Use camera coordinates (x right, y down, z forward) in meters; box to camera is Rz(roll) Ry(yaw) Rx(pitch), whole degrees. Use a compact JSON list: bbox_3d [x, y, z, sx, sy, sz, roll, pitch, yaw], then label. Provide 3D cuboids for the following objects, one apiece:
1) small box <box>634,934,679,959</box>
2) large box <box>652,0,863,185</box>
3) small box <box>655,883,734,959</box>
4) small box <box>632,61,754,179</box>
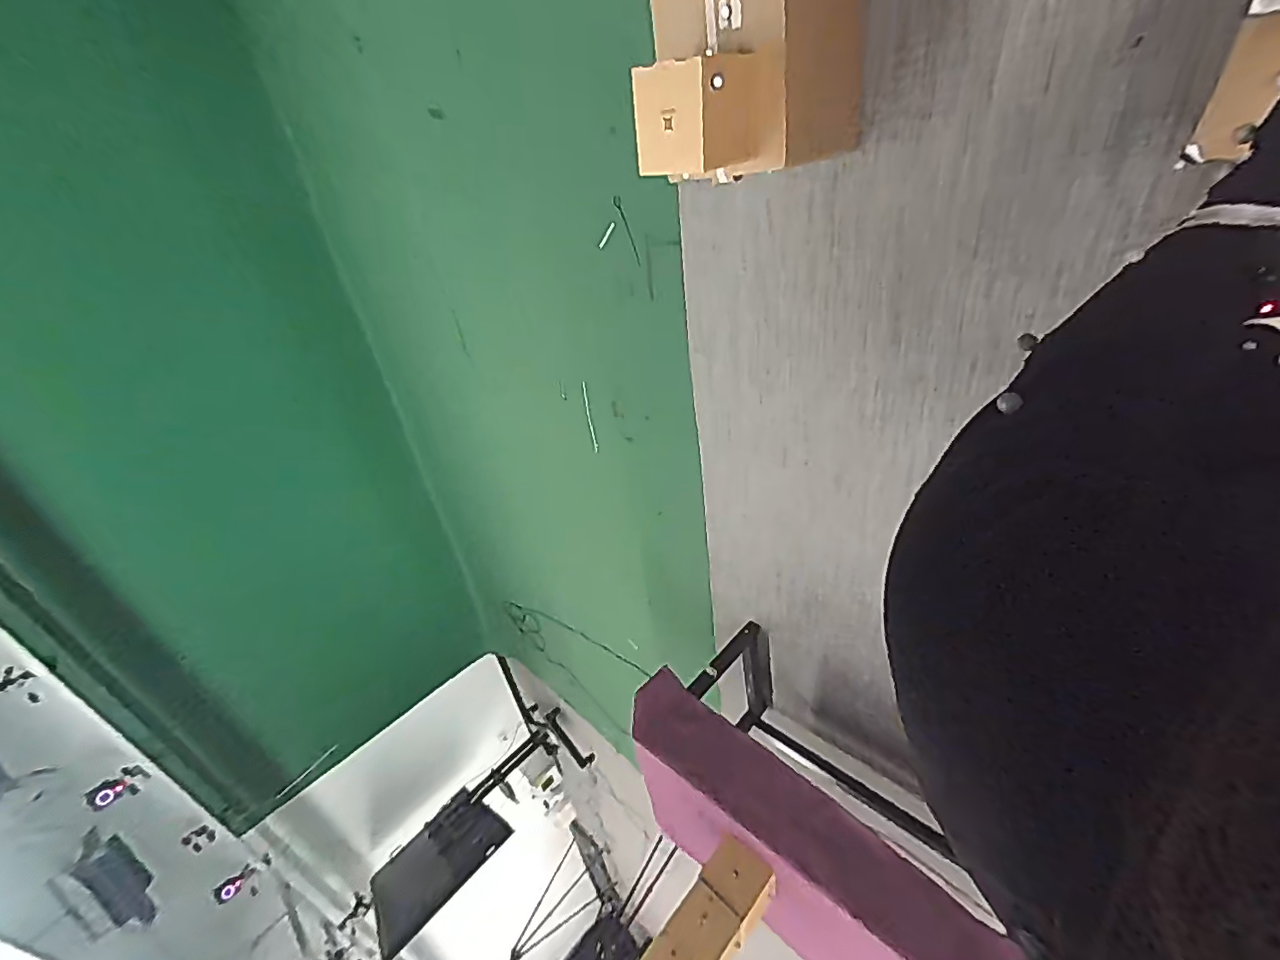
[{"bbox_3d":[0.051,1.419,1.497,0.168,0.176,0.179,24,135,38],"label":"small box"},{"bbox_3d":[0.254,-0.880,1.148,0.320,0.320,0.408,22,131,40],"label":"large box"},{"bbox_3d":[0.163,1.343,1.592,0.168,0.176,0.179,25,135,37],"label":"small box"},{"bbox_3d":[0.106,-0.692,1.044,0.168,0.176,0.179,24,132,37],"label":"small box"}]
